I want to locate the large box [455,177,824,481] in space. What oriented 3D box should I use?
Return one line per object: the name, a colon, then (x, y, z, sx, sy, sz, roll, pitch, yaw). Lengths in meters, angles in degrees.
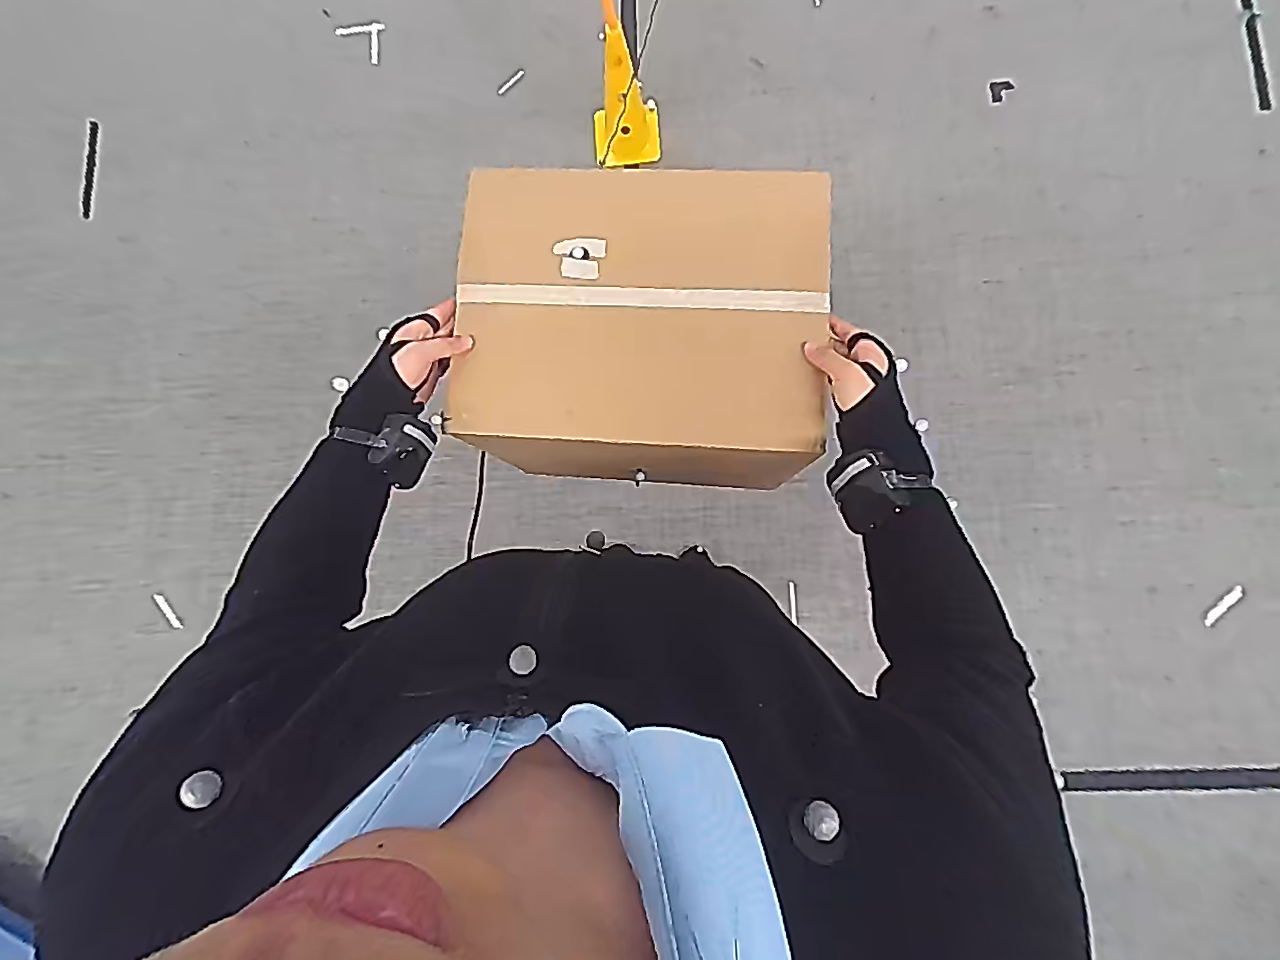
large box: (0.014, -0.172, 0.744, 0.408, 0.320, 0.320, 3, 81, 5)
